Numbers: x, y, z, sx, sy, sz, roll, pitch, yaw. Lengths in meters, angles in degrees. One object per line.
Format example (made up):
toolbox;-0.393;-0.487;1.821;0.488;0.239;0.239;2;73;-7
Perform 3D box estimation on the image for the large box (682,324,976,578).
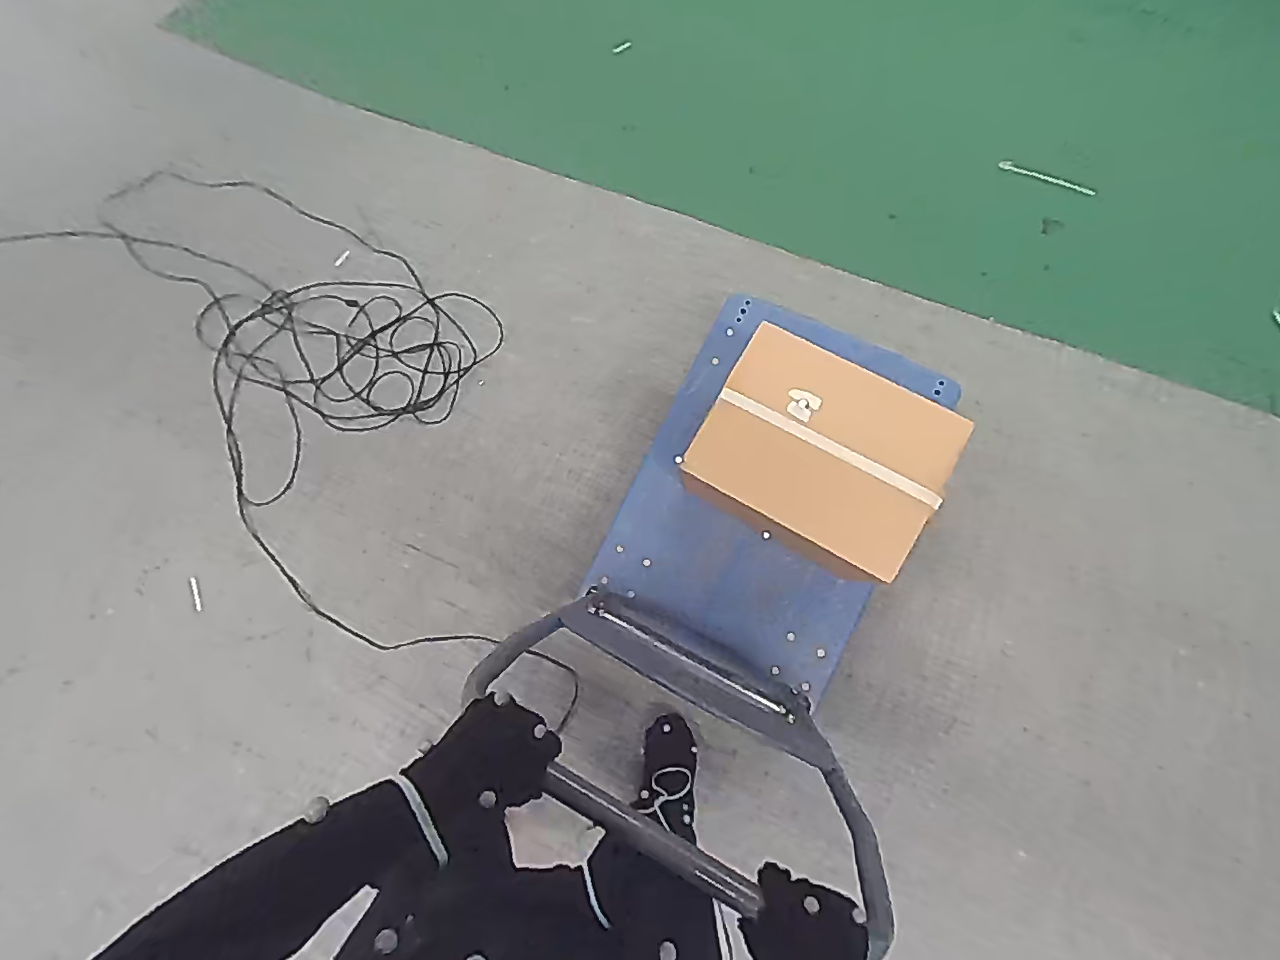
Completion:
large box;0.341;-0.040;1.071;0.408;0.320;0.320;29;86;11
